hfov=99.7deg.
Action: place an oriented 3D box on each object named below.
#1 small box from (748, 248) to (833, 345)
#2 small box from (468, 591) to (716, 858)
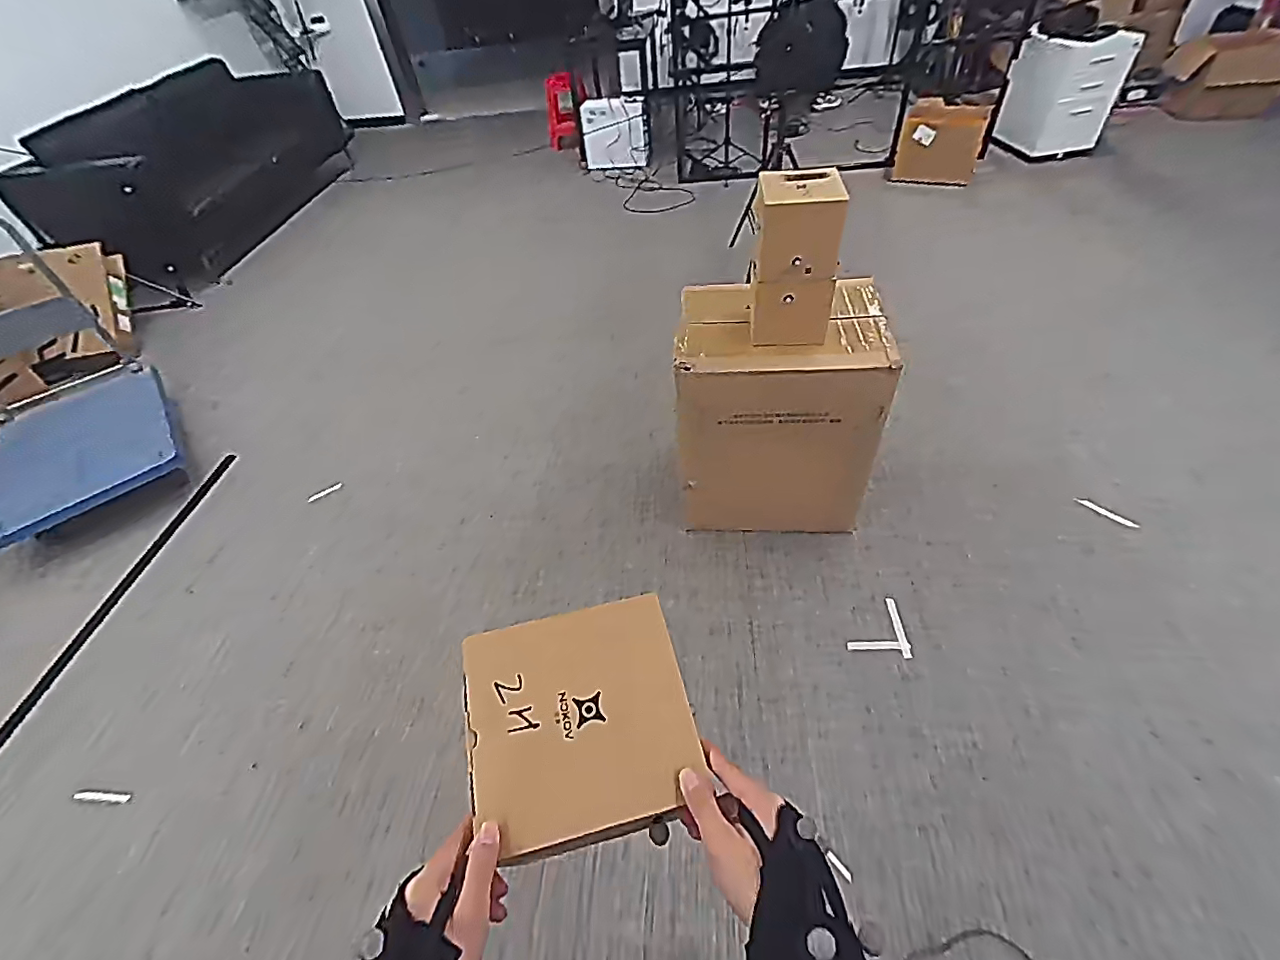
[{"bbox_3d":[0.353,-0.439,1.305,0.179,0.176,0.168,0,48,7],"label":"small box"},{"bbox_3d":[-0.045,0.225,0.493,0.179,0.176,0.168,-12,55,-7],"label":"small box"}]
